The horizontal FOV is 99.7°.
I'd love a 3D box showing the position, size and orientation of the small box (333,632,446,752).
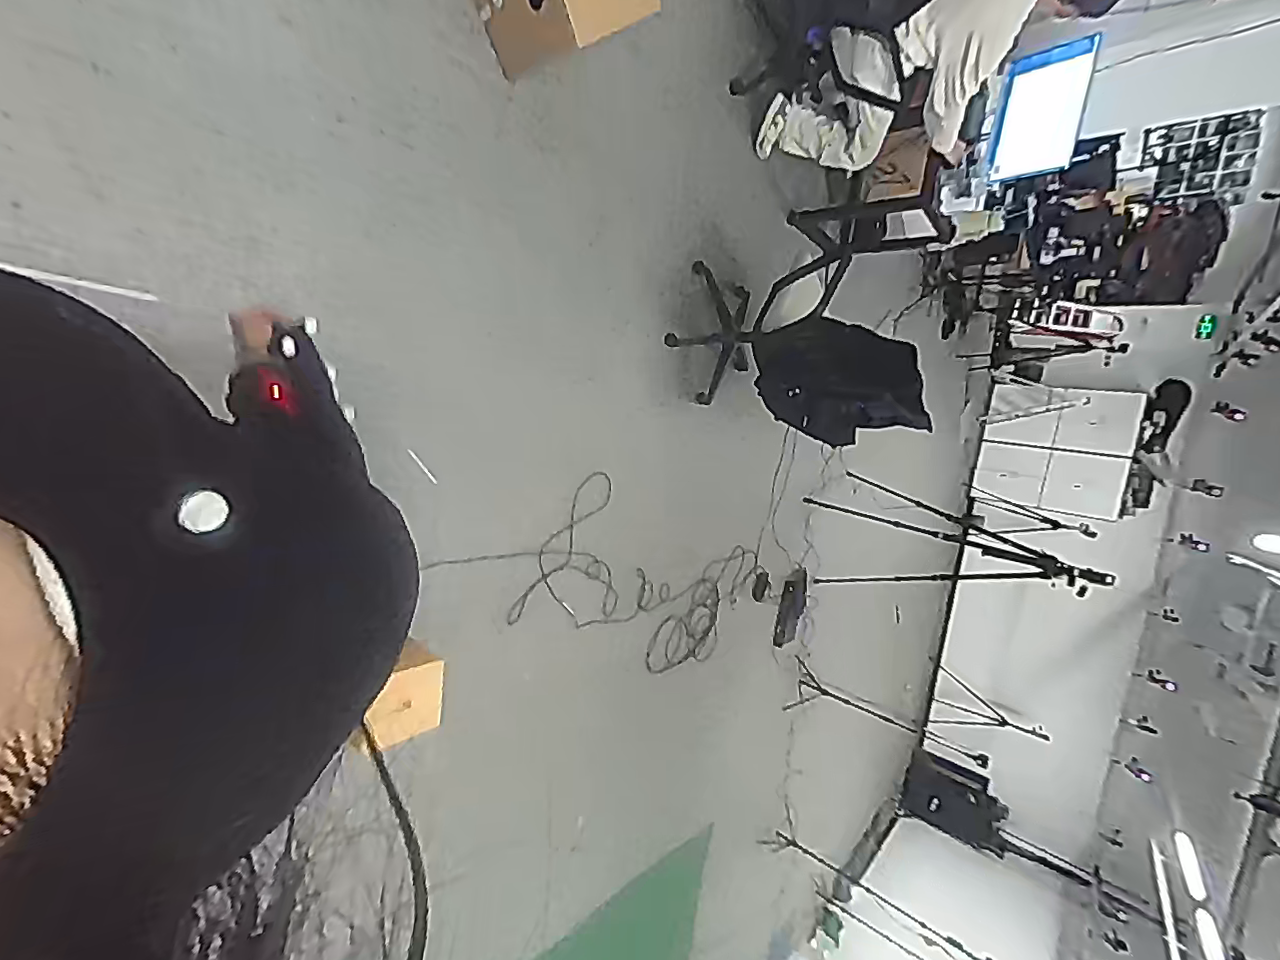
[{"bbox_3d":[-0.558,0.458,1.204,0.179,0.176,0.168,-3,103,-48],"label":"small box"}]
